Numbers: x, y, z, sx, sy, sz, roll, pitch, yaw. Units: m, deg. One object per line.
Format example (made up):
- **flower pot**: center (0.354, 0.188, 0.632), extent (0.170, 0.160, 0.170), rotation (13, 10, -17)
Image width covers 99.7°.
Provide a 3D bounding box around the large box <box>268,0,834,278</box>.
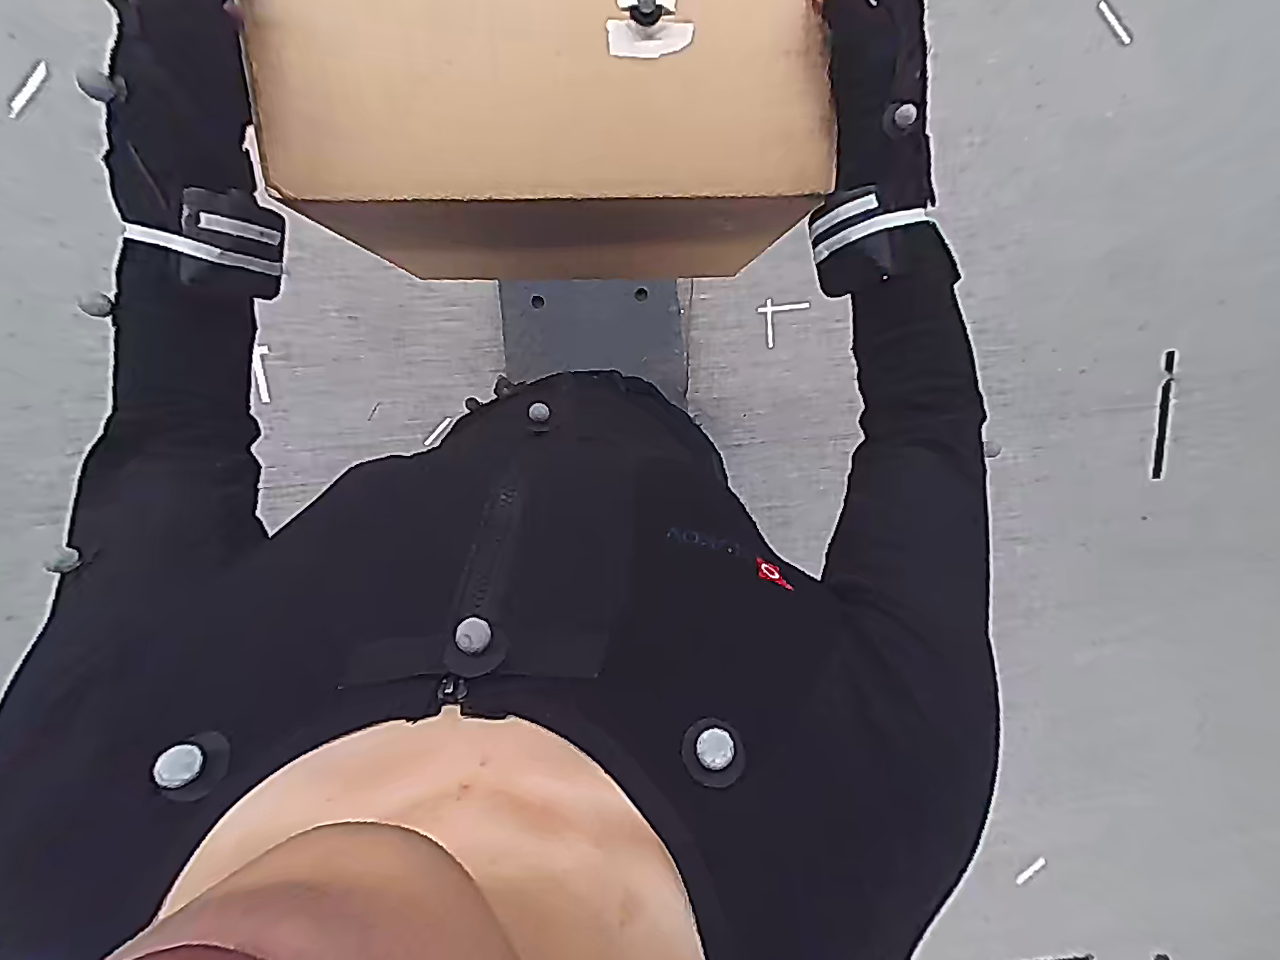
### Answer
- **large box**: center (-0.069, -0.390, 0.521), extent (0.408, 0.320, 0.320), rotation (-2, 101, -4)
